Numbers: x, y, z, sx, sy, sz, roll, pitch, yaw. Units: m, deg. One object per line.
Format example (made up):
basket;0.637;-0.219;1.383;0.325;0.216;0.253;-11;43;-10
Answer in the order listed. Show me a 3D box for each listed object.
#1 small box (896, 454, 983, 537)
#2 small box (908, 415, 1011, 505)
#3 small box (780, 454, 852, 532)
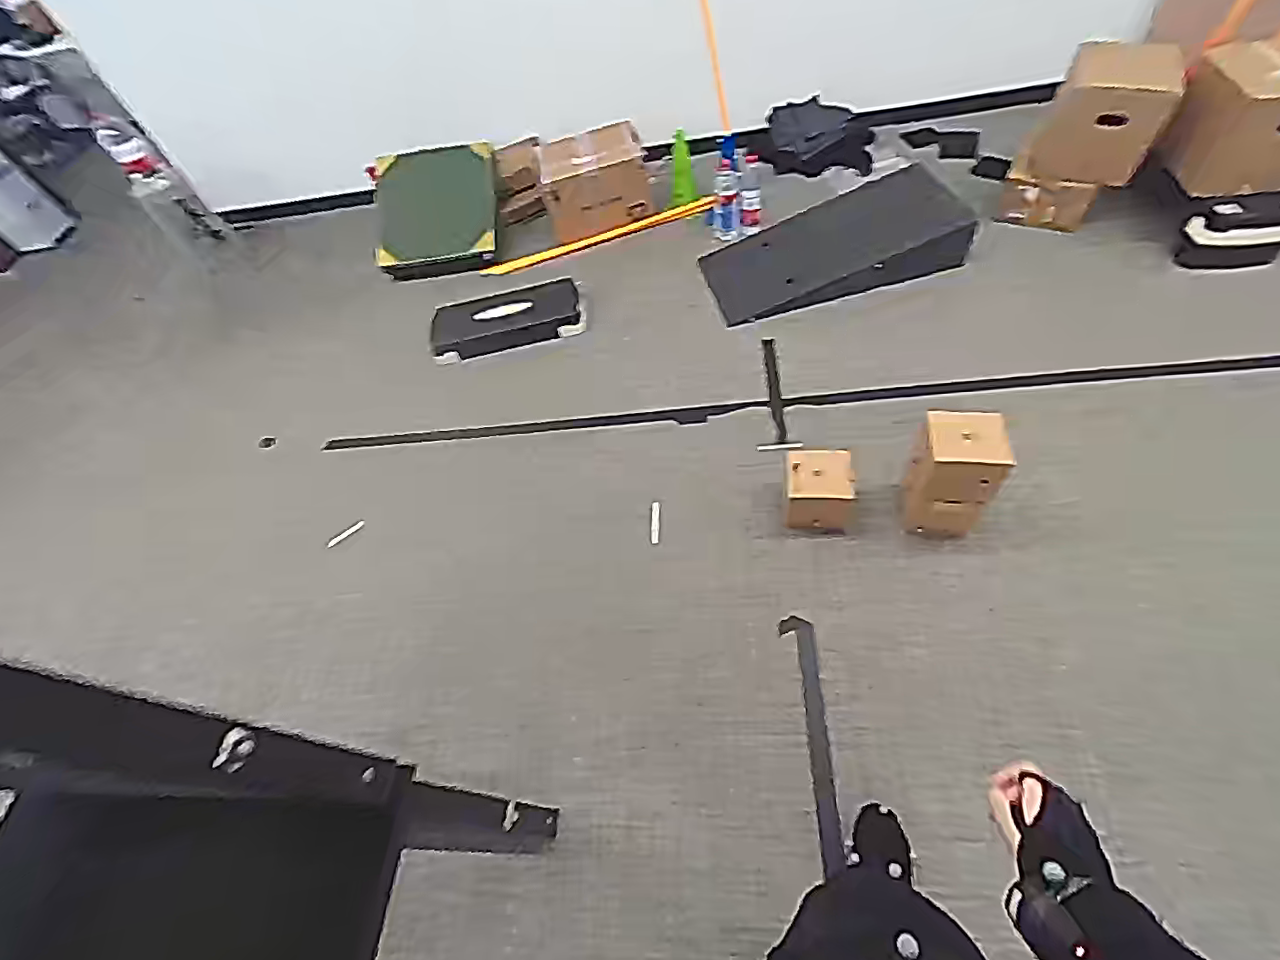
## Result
small box;0.836;0.047;1.527;0.168;0.176;0.179;2;55;11
small box;0.815;-0.050;1.397;0.179;0.176;0.168;3;55;13
small box;0.510;0.041;1.590;0.179;0.176;0.168;2;56;10
